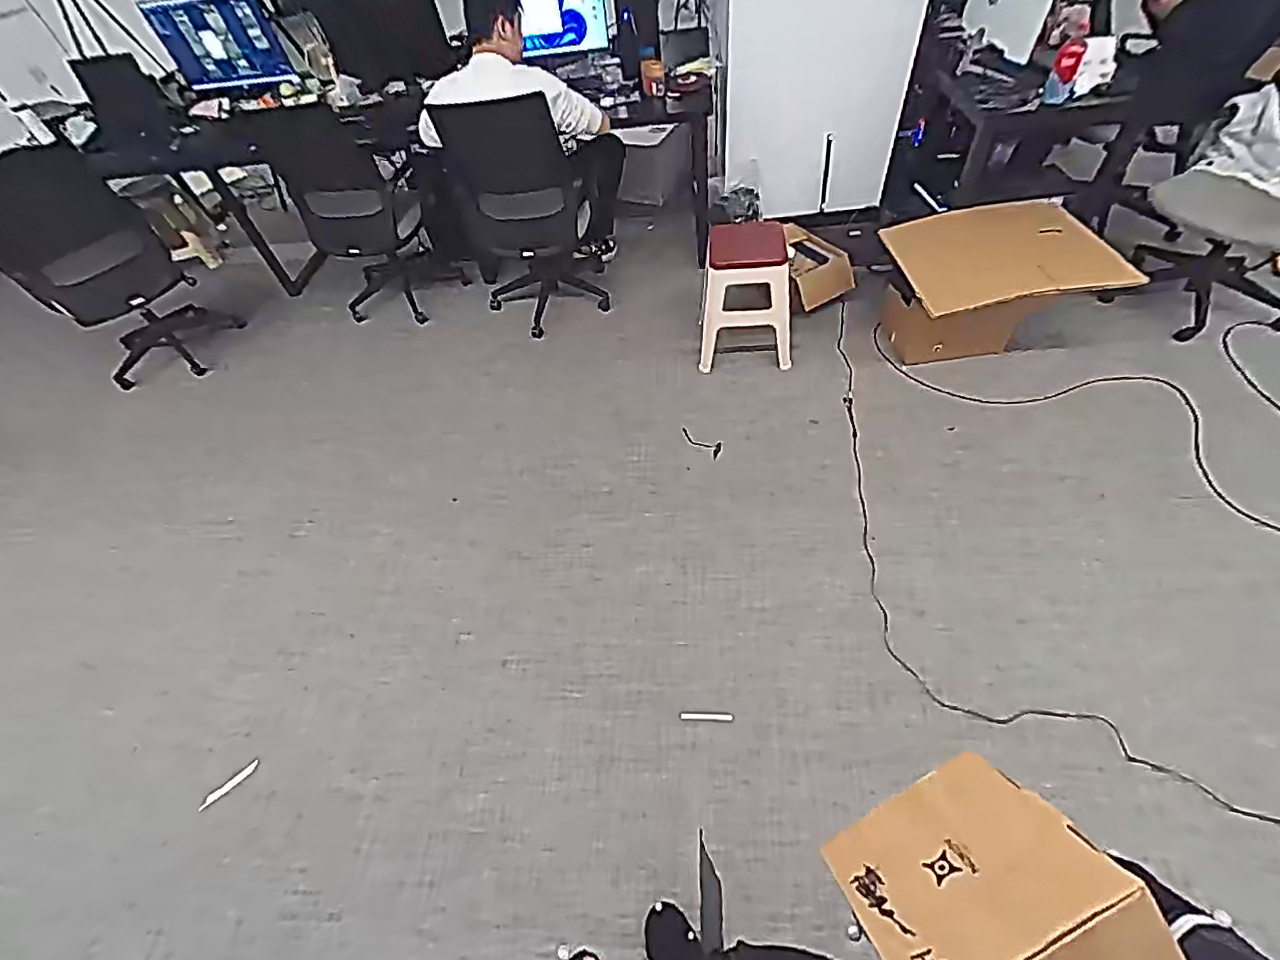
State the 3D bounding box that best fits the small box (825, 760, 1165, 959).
[{"bbox_3d":[0.295,0.386,0.447,0.179,0.168,0.176,-30,93,-2],"label":"small box"}]
